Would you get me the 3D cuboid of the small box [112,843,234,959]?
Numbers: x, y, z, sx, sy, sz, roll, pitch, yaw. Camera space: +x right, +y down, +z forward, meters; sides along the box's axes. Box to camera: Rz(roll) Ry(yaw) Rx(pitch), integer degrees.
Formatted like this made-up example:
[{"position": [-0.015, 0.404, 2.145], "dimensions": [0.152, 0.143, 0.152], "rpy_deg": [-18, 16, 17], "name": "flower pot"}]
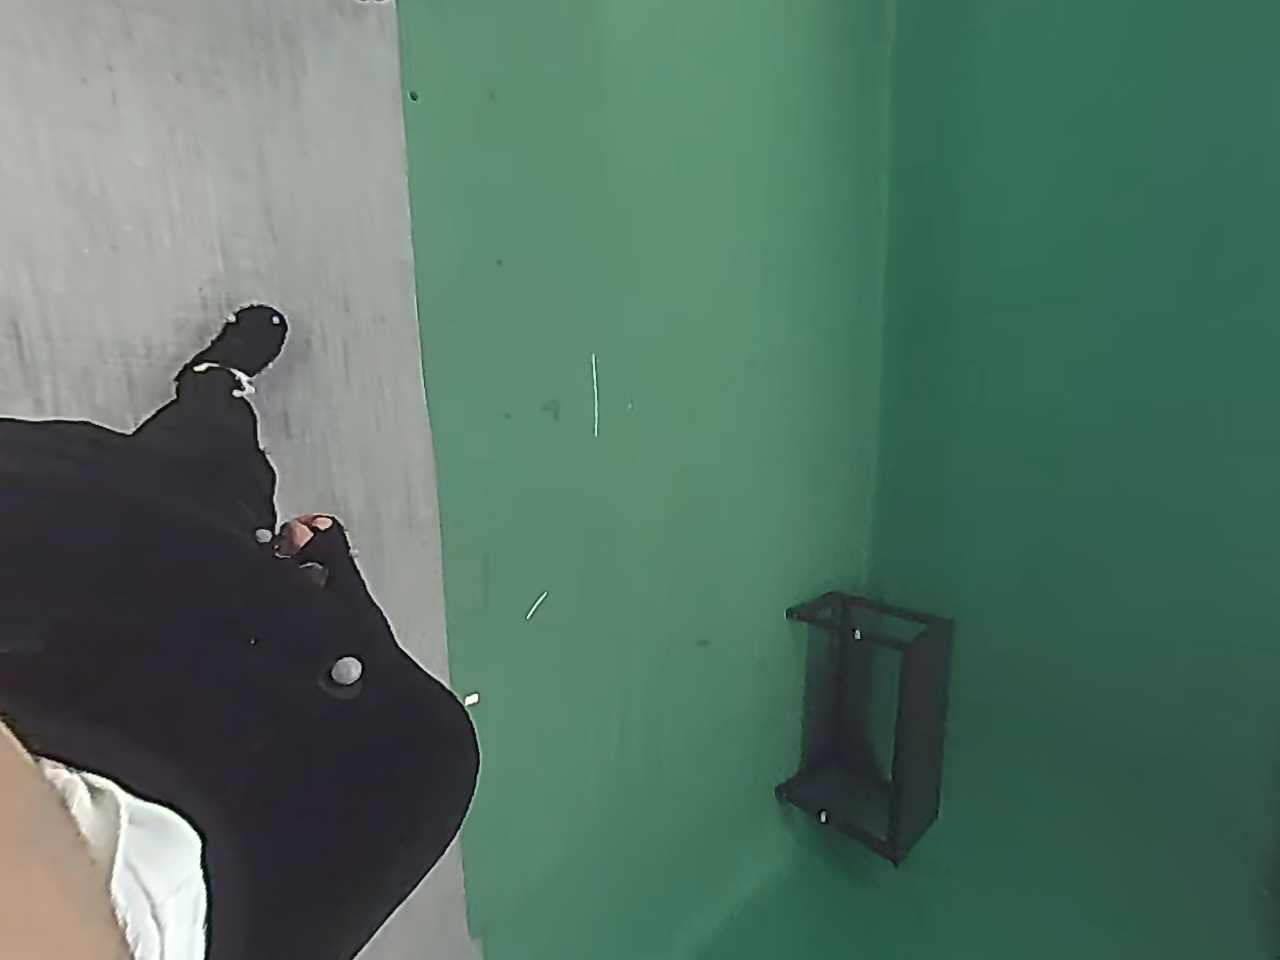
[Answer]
[{"position": [-0.964, 0.911, 1.118], "dimensions": [0.168, 0.176, 0.179], "rpy_deg": [-11, 105, -44], "name": "small box"}]
